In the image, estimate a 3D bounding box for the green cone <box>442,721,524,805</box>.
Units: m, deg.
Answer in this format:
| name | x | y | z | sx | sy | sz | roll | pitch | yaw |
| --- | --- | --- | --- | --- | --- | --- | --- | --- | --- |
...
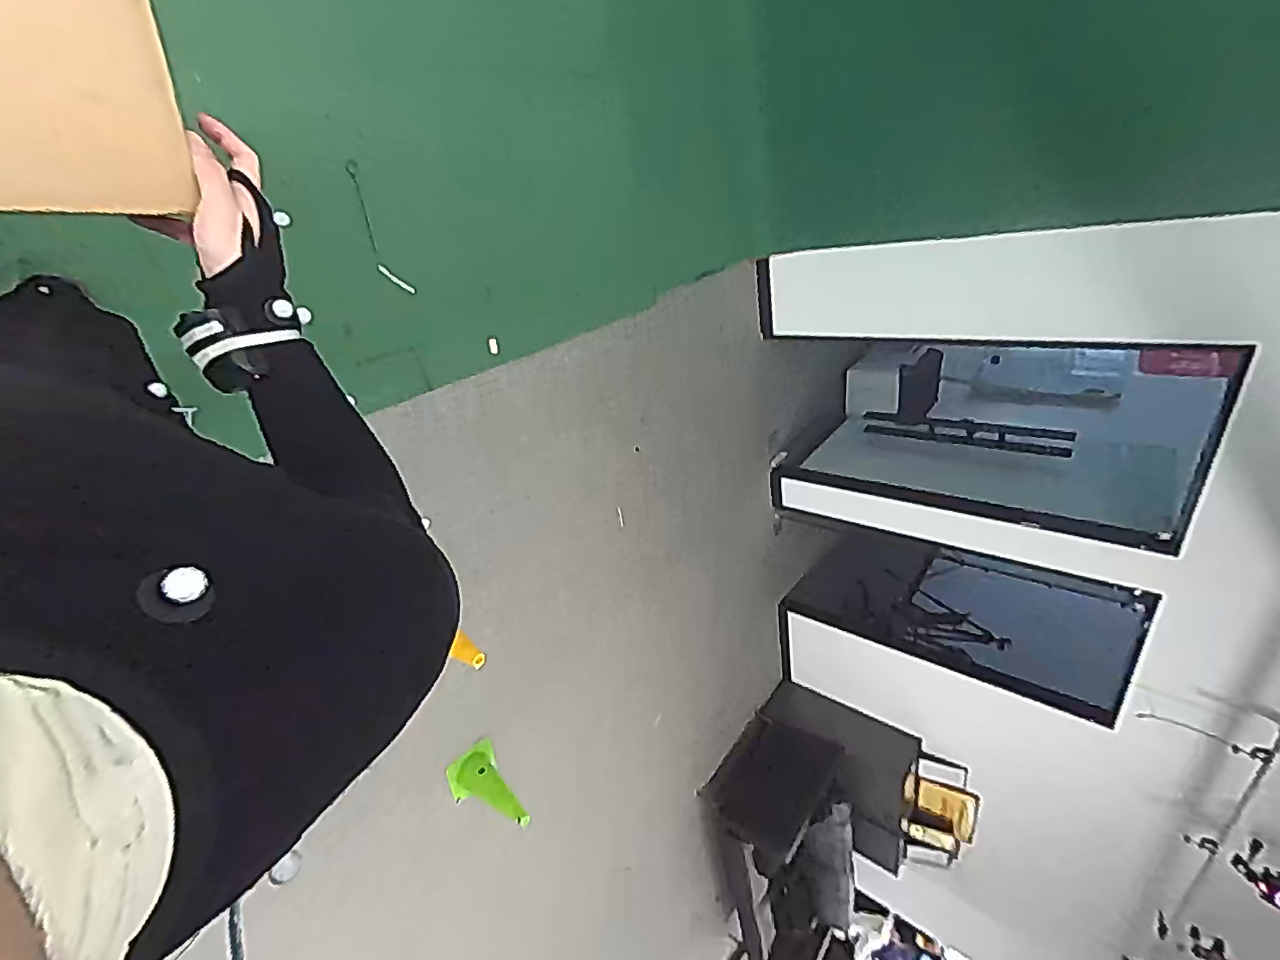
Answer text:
| name | x | y | z | sx | sy | sz | roll | pitch | yaw |
| --- | --- | --- | --- | --- | --- | --- | --- | --- | --- |
| green cone | -0.571 | 1.143 | 2.098 | 0.200 | 0.368 | 0.202 | -29 | 122 | -42 |
